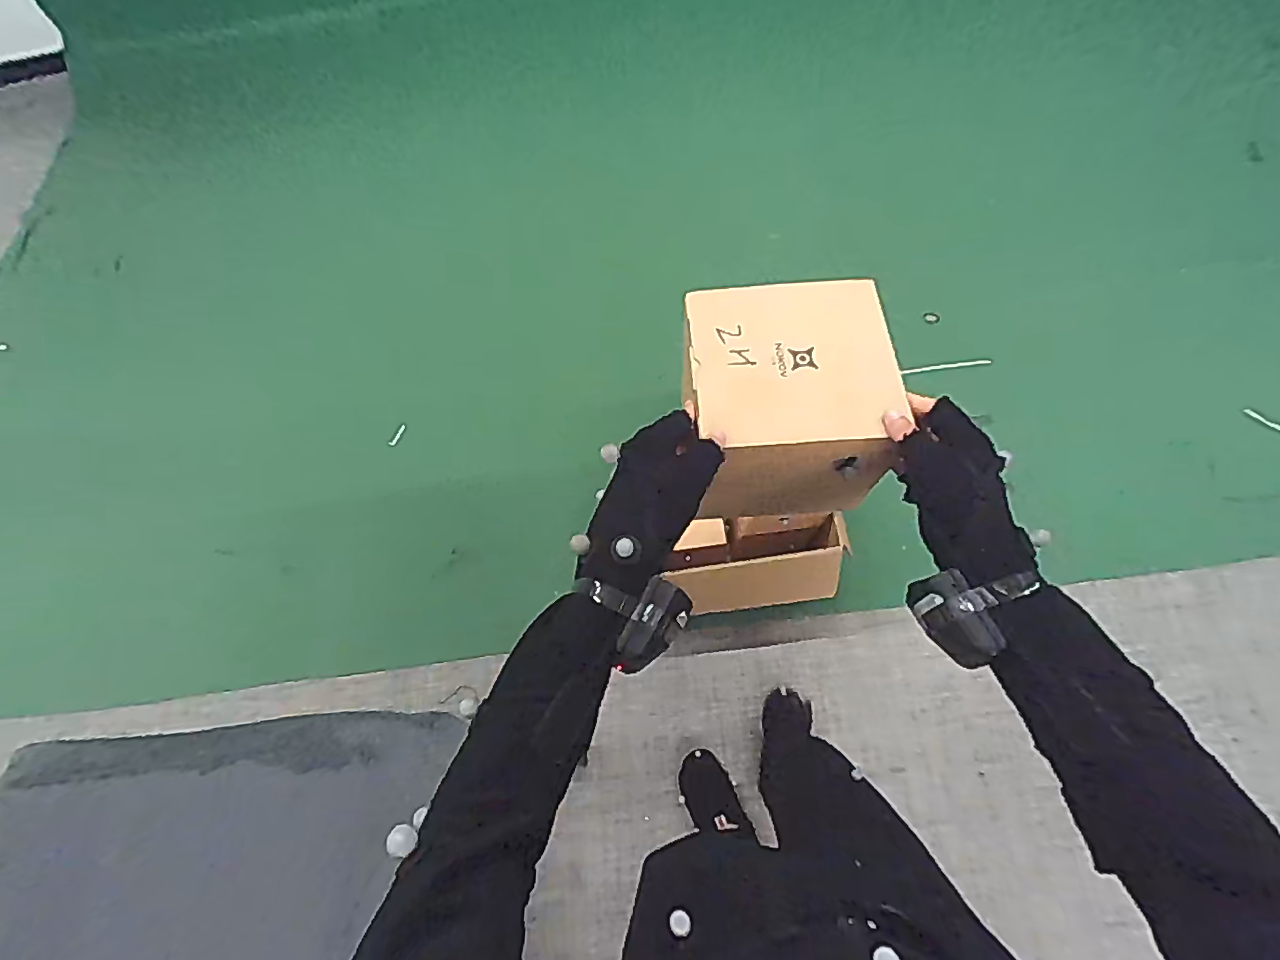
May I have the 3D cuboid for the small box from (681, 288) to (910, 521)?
[{"bbox_3d":[0.134,-0.066,0.541,0.179,0.176,0.168,-4,65,3],"label":"small box"}]
